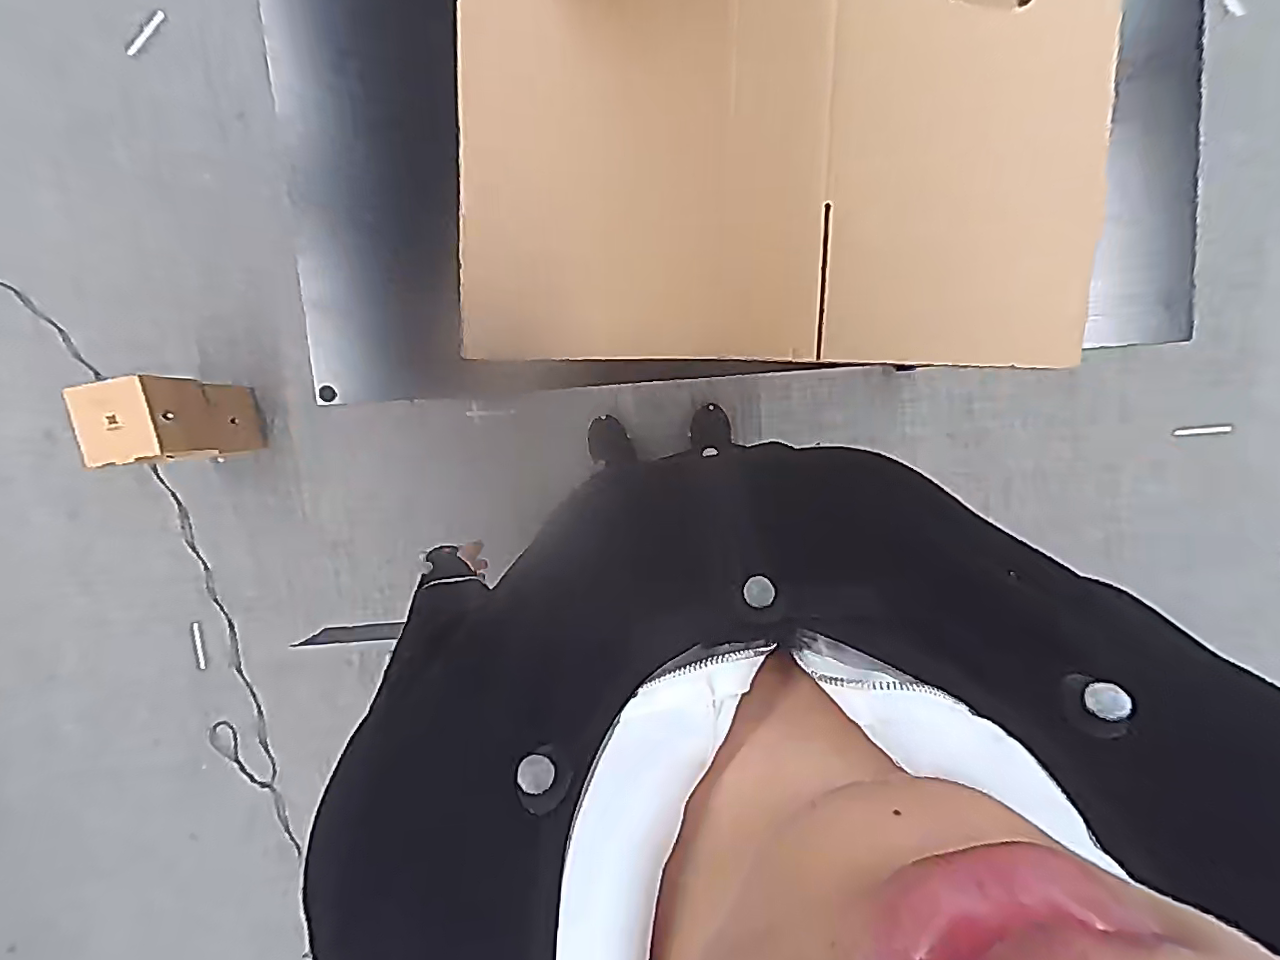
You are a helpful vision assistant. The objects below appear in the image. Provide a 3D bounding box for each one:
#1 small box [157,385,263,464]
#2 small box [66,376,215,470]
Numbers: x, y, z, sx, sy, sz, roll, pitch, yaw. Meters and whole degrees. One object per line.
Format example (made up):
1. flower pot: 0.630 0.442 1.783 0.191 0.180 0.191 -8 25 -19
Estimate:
1. small box: -1.119 -0.143 1.393 0.168 0.176 0.179 -8 97 1
2. small box: -1.120 -0.130 1.231 0.168 0.176 0.179 -11 96 0
